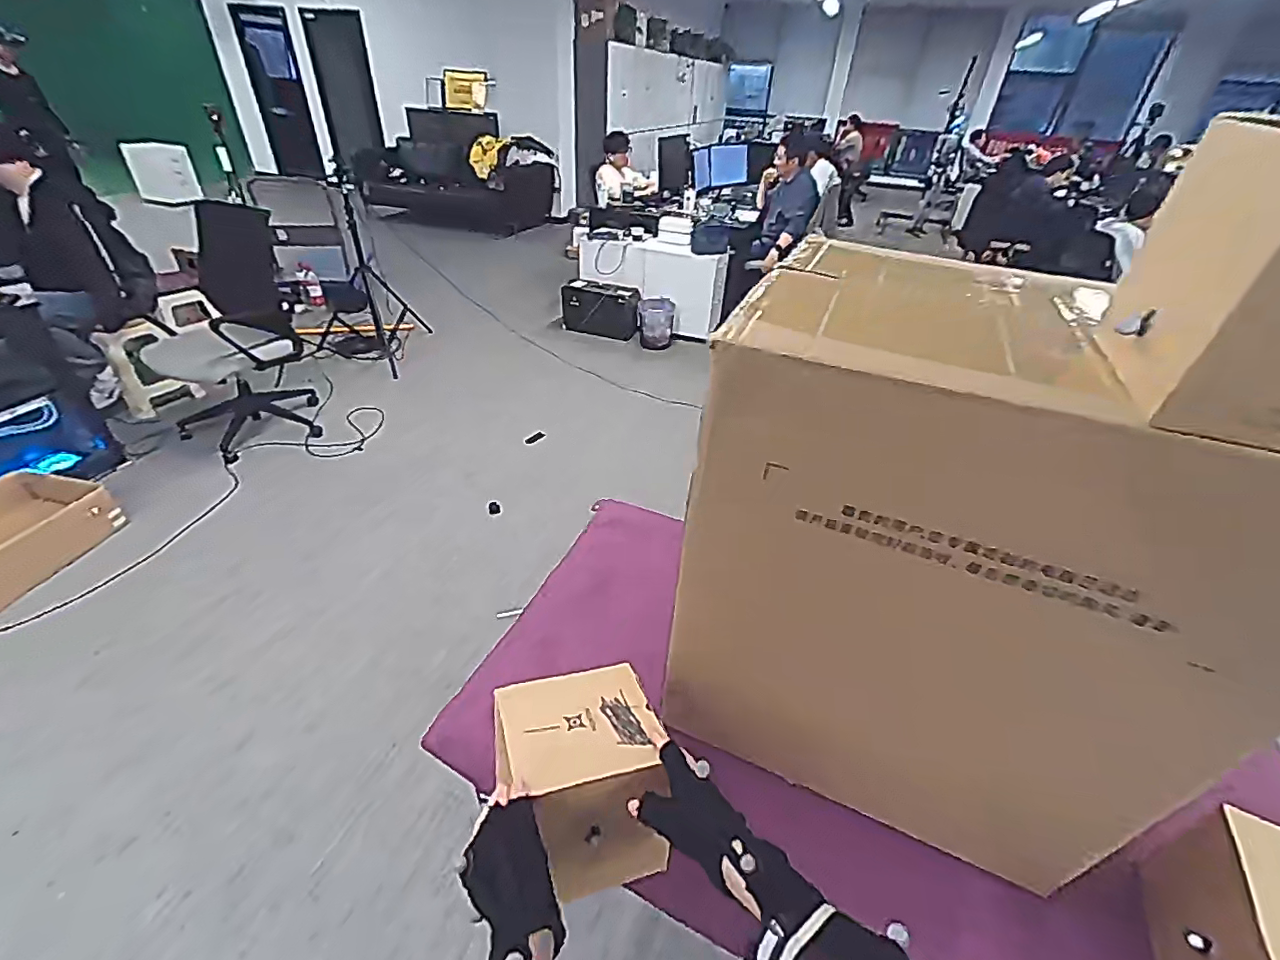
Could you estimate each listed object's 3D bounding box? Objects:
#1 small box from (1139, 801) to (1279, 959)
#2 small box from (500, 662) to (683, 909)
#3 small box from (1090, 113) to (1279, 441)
[{"bbox_3d":[0.687,0.499,0.573,0.168,0.176,0.179,21,38,21],"label":"small box"},{"bbox_3d":[-0.068,0.345,0.635,0.179,0.176,0.168,-3,18,-21],"label":"small box"},{"bbox_3d":[0.449,-0.130,0.355,0.168,0.176,0.179,16,40,16],"label":"small box"}]
